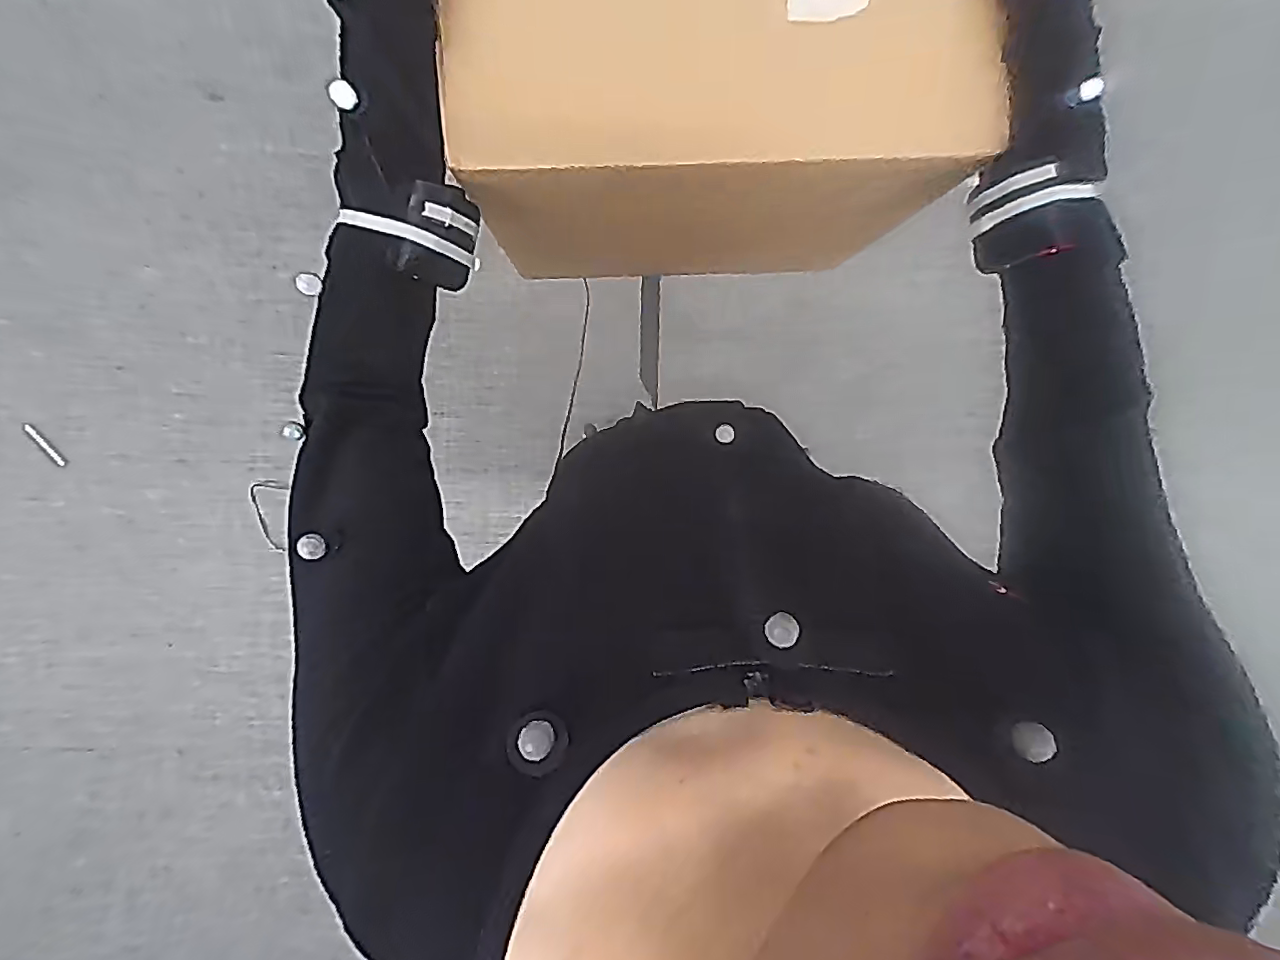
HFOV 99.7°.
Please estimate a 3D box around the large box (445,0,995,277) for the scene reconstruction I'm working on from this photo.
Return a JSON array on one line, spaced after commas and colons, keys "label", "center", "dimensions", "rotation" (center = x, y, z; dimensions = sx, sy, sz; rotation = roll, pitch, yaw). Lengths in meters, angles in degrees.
[{"label": "large box", "center": [0.049, -0.404, 0.528], "dimensions": [0.408, 0.320, 0.320], "rotation": [-3, 97, -3]}]
